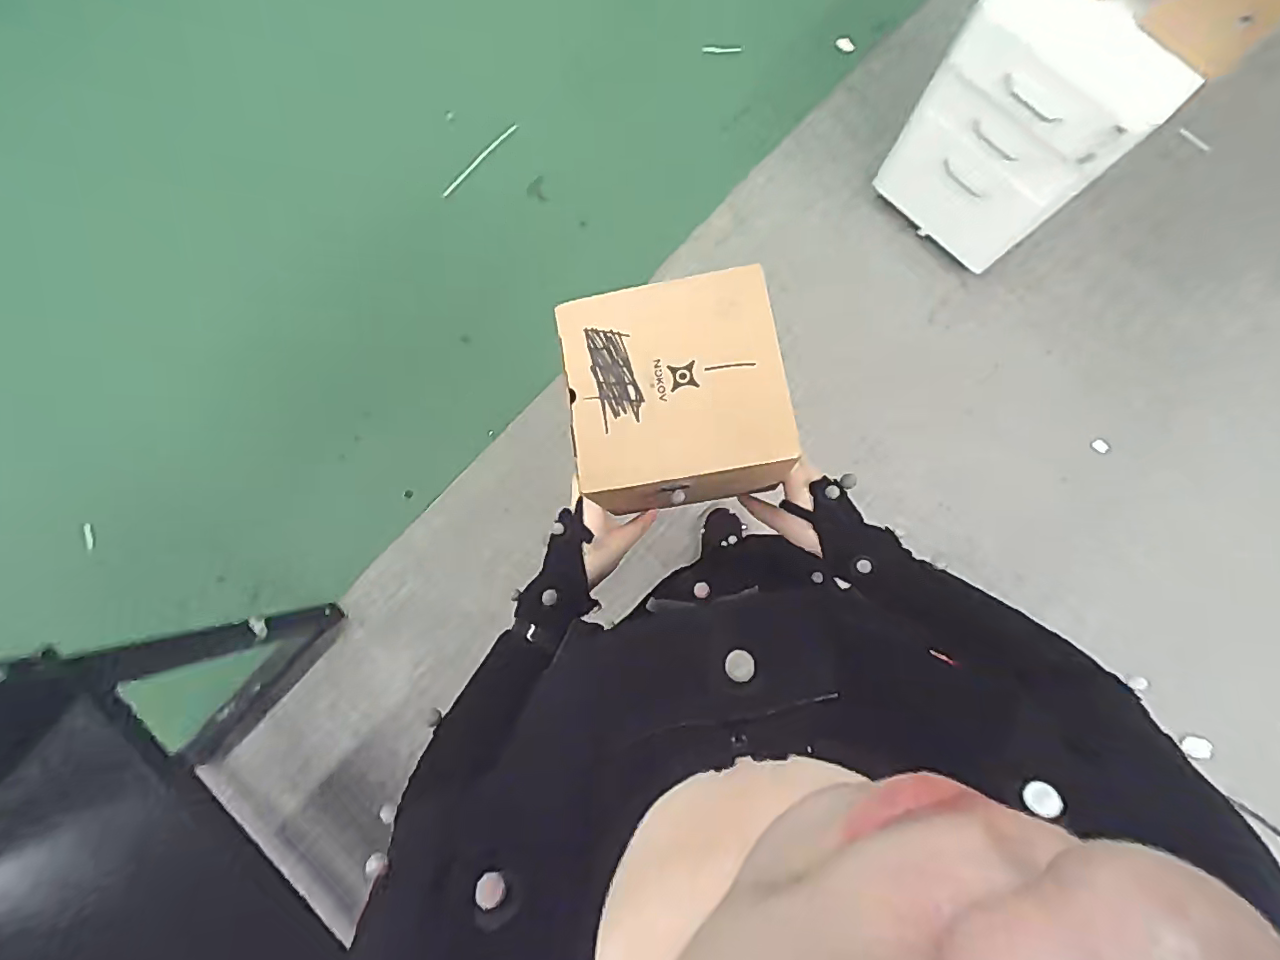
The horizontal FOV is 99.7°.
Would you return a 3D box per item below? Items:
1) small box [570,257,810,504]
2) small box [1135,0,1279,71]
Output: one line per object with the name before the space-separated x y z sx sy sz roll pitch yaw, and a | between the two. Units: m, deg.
small box | 0.045 -0.076 0.507 0.179 0.176 0.168 -8 80 5
small box | 0.997 -0.828 0.888 0.168 0.176 0.179 -45 82 -4
